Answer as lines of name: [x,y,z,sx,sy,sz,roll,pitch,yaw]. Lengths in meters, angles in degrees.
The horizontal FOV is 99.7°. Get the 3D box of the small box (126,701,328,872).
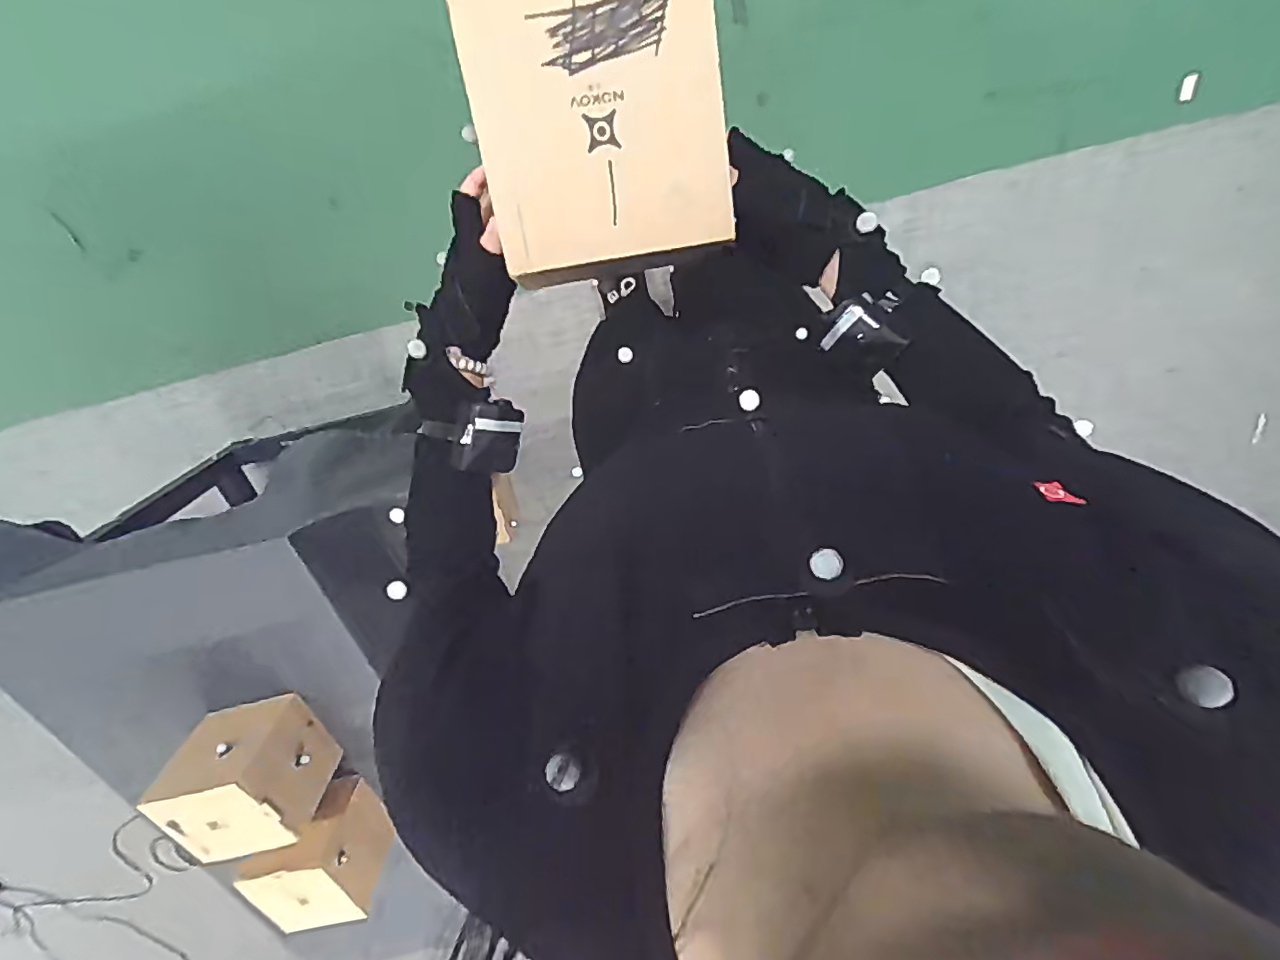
small box: [-0.647,0.491,0.883,0.179,0.176,0.168,-16,117,4]

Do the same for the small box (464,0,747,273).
small box: [-0.029,-0.266,0.414,0.168,0.176,0.179,-10,108,-5]
